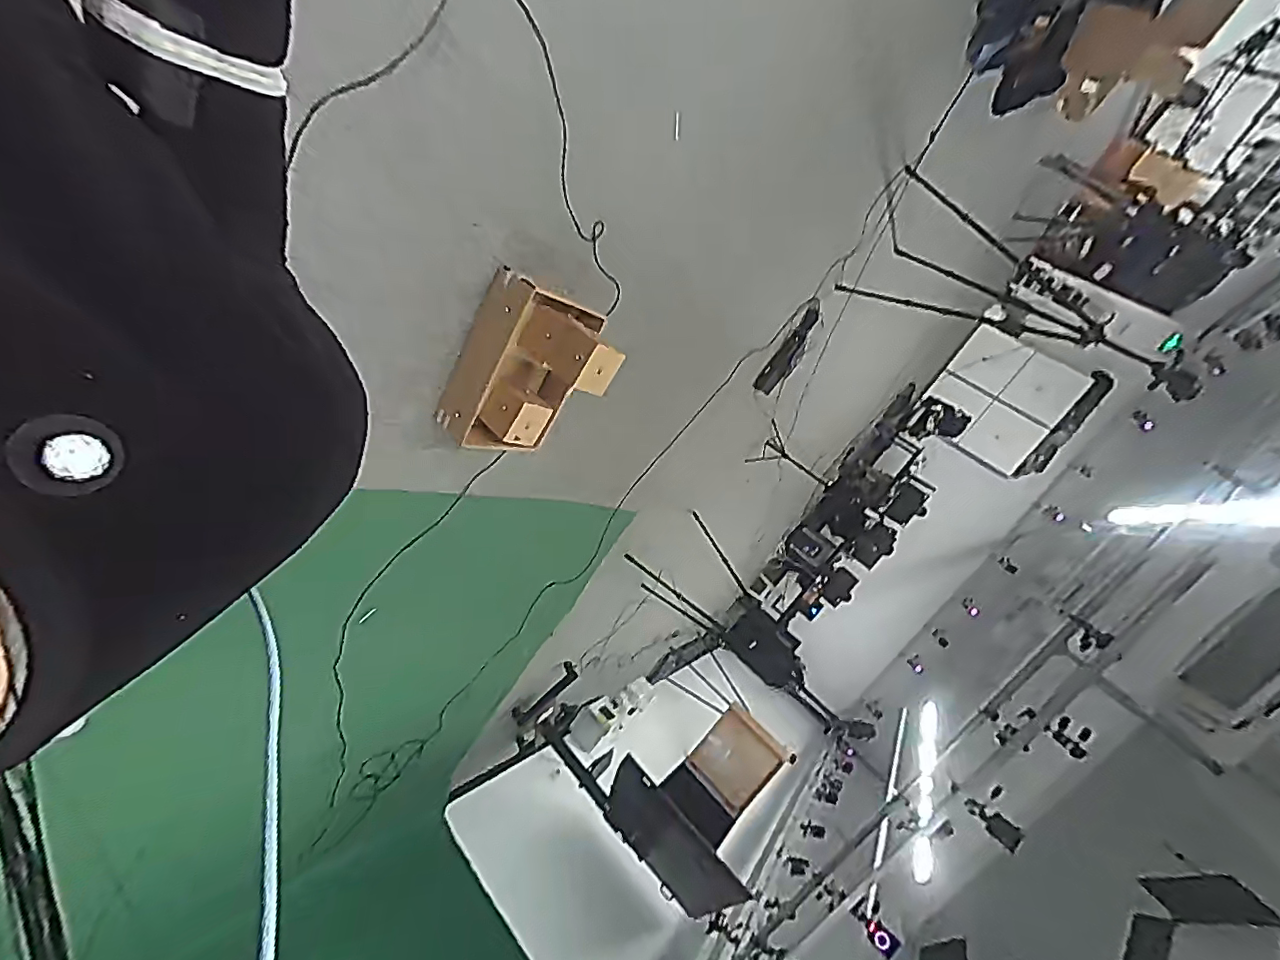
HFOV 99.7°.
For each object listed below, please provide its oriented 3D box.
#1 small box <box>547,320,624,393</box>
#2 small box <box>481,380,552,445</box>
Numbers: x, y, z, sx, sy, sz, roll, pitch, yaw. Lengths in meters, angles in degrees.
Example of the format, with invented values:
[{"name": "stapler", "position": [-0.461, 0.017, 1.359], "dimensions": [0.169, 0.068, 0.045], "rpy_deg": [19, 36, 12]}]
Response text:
[{"name": "small box", "position": [-0.196, -0.433, 1.894], "dimensions": [0.179, 0.176, 0.168], "rpy_deg": [-56, 152, 16]}, {"name": "small box", "position": [-0.476, -0.259, 2.066], "dimensions": [0.179, 0.176, 0.168], "rpy_deg": [-57, 153, 15]}]
